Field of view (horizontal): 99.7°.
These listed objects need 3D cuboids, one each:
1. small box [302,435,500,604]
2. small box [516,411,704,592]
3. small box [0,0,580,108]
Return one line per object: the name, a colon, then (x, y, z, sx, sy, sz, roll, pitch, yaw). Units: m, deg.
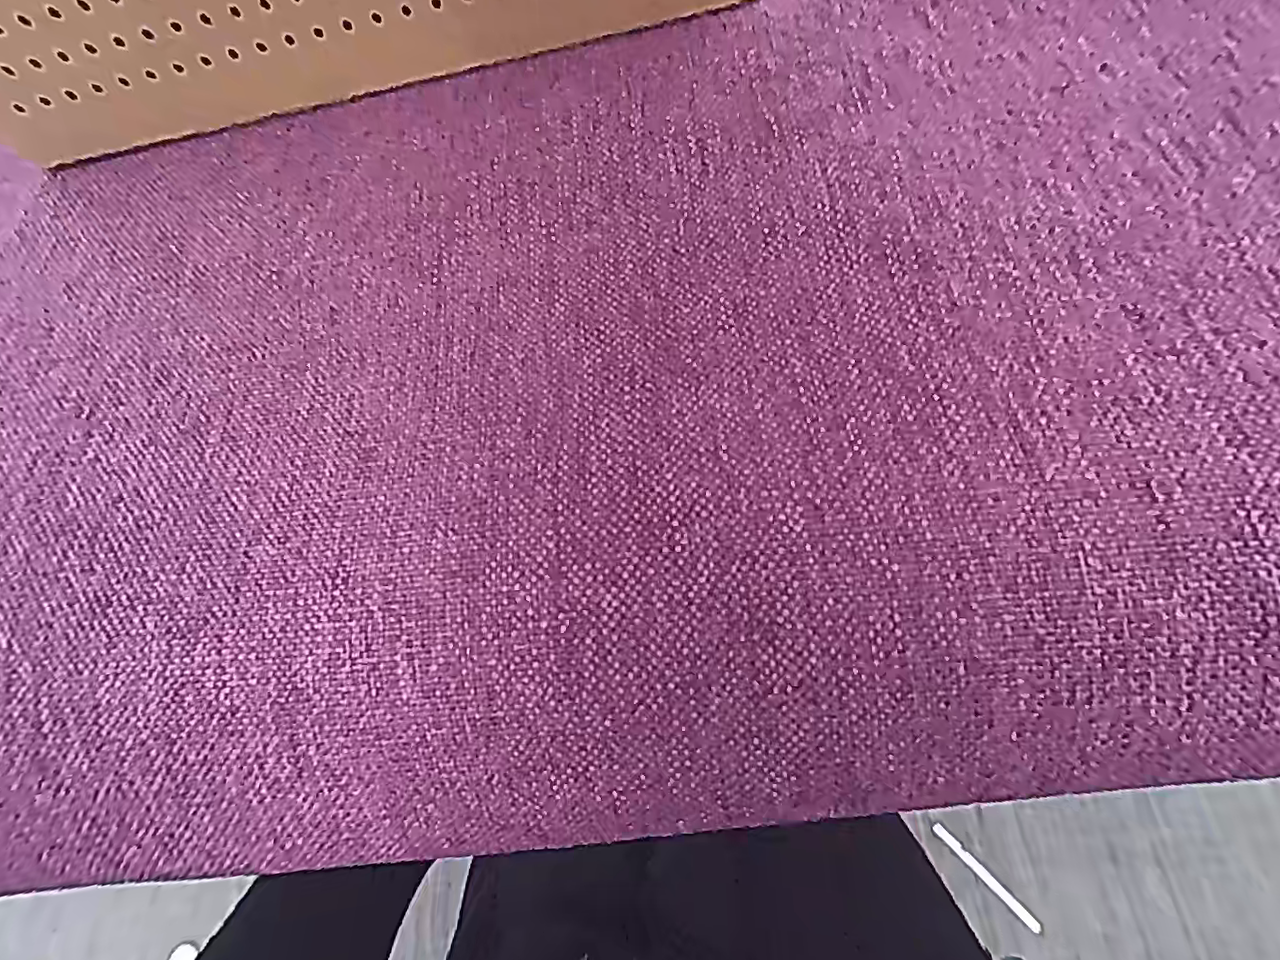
small box: (-0.285, 0.059, 0.684, 0.179, 0.176, 0.168, -10, 72, 5)
small box: (-0.026, 0.036, 0.618, 0.179, 0.176, 0.168, -9, 79, 3)
small box: (-0.073, -0.200, 0.078, 0.179, 0.176, 0.168, -9, 68, 6)
